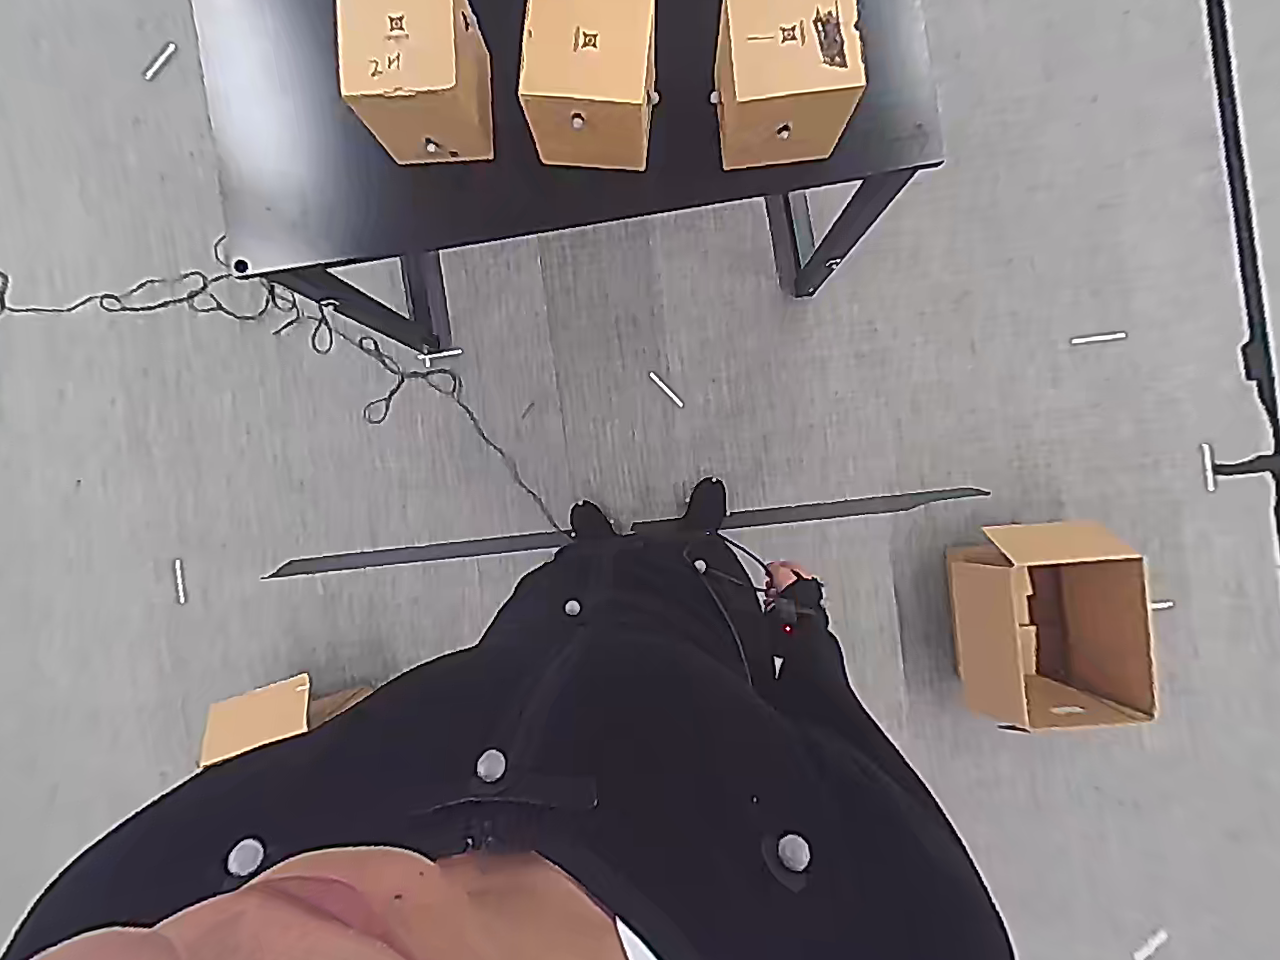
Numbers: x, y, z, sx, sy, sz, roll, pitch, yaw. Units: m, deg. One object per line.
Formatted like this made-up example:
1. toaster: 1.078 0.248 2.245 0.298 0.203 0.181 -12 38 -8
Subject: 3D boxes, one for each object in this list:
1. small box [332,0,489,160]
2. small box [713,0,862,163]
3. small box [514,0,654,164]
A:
1. small box: -0.336 -0.622 0.818 0.168 0.176 0.179 -2 91 3
2. small box: 0.207 -0.602 0.798 0.179 0.176 0.168 -5 90 4
3. small box: -0.074 -0.604 0.811 0.179 0.176 0.168 6 91 4
